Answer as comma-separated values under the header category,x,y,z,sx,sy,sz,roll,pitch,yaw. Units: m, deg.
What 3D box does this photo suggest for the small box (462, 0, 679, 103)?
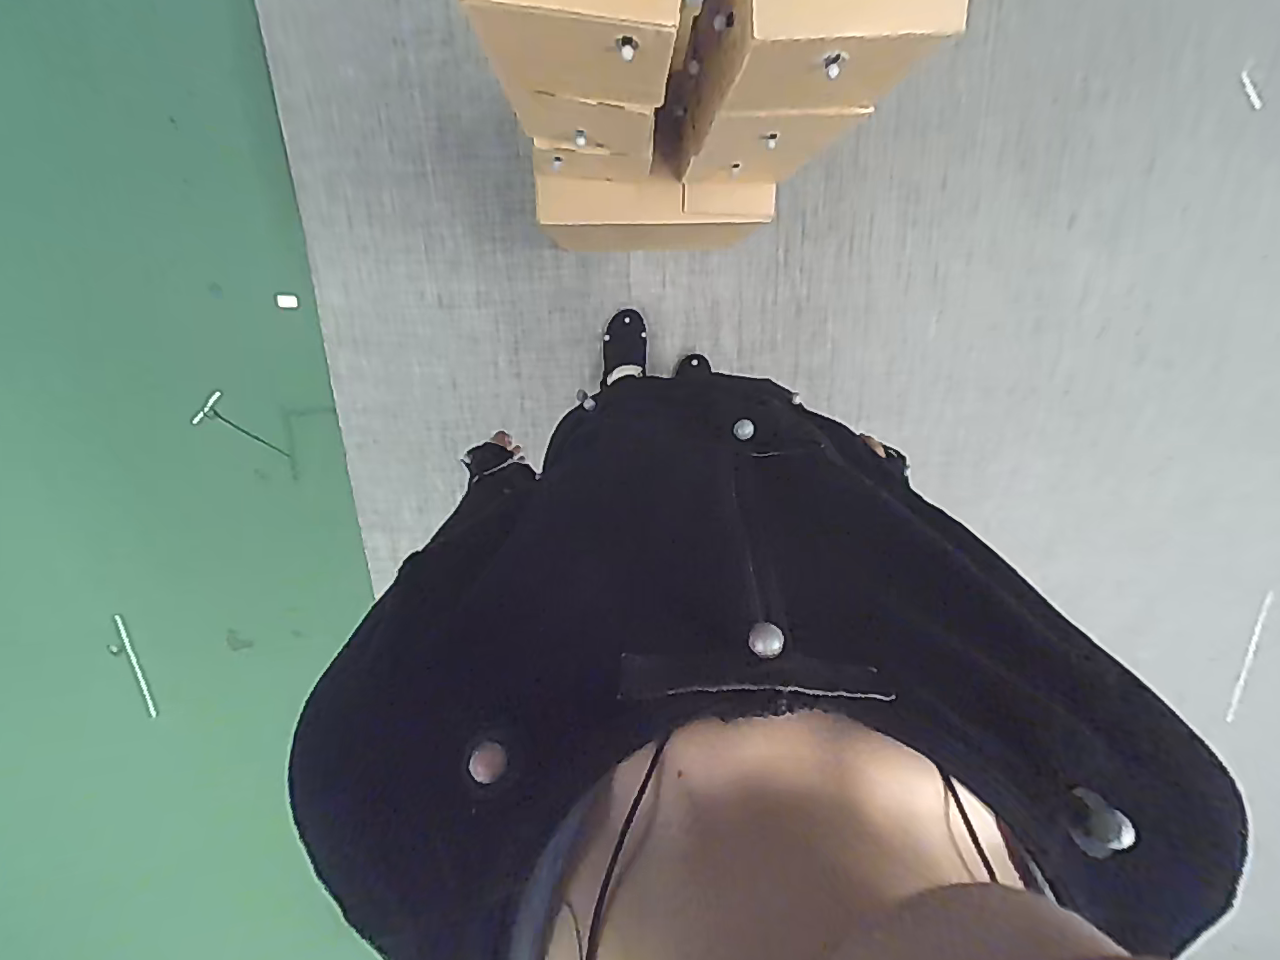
category,x,y,z,sx,sy,sz,roll,pitch,yaw
small box,-0.052,-0.466,0.483,0.179,0.176,0.168,4,107,-4

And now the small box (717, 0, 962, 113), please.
category,x,y,z,sx,sy,sz,roll,pitch,yaw
small box,0.166,-0.454,0.490,0.179,0.176,0.168,-3,108,-1
